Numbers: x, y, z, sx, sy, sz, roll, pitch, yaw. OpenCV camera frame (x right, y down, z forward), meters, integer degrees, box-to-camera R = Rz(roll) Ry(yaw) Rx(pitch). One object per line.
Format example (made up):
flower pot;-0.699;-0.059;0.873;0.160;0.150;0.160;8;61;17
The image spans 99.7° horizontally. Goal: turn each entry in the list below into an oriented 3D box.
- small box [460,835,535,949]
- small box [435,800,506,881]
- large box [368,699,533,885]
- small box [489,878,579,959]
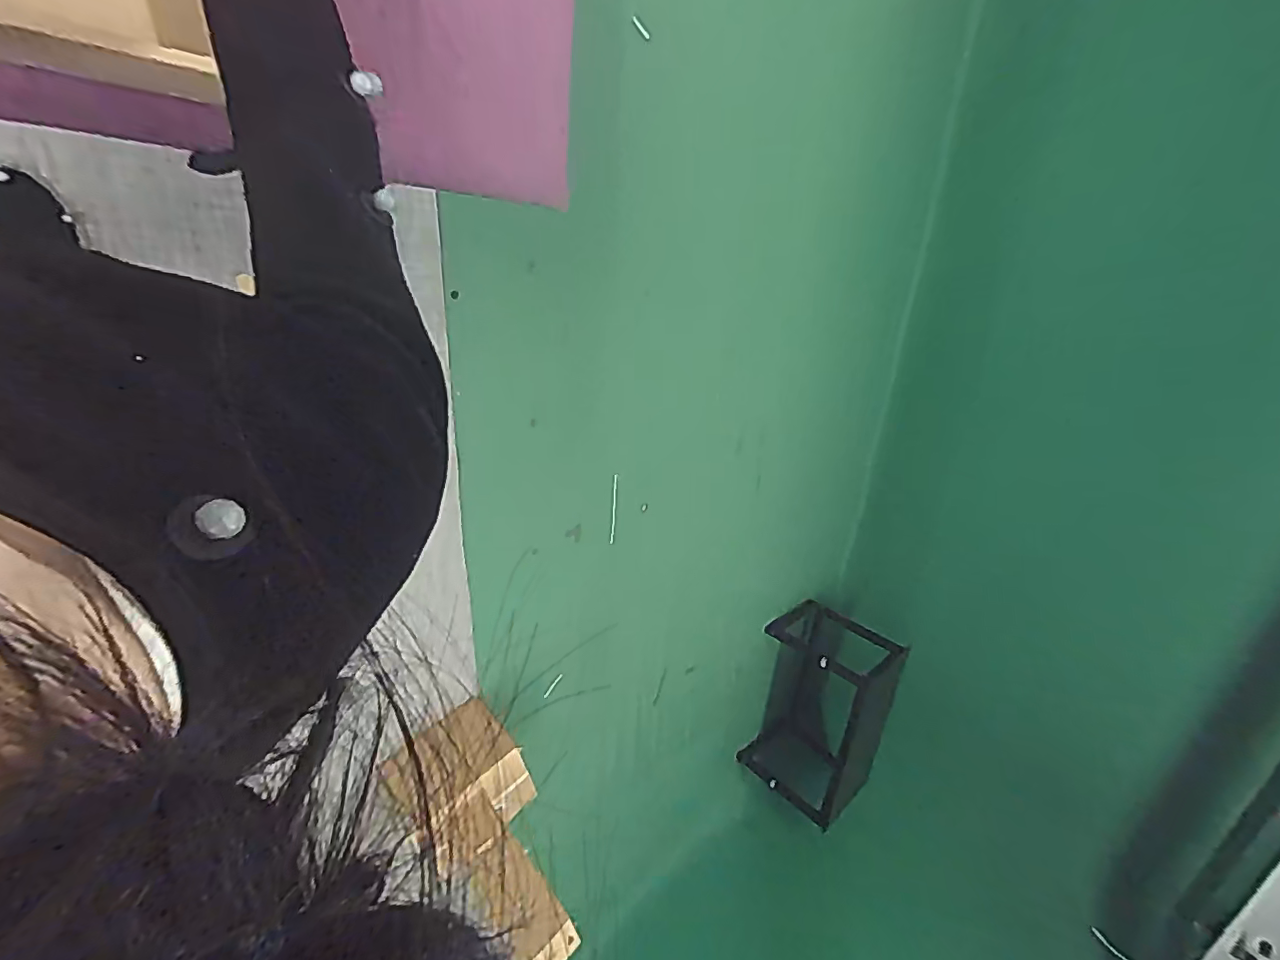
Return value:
small box;-0.414;1.219;1.607;0.179;0.176;0.168;-32;129;-32
small box;-0.523;1.164;1.716;0.168;0.176;0.179;-30;128;-32
large box;-0.658;1.079;1.906;0.408;0.320;0.320;-32;130;-33
small box;-0.300;1.271;1.501;0.179;0.176;0.168;-30;128;-31
